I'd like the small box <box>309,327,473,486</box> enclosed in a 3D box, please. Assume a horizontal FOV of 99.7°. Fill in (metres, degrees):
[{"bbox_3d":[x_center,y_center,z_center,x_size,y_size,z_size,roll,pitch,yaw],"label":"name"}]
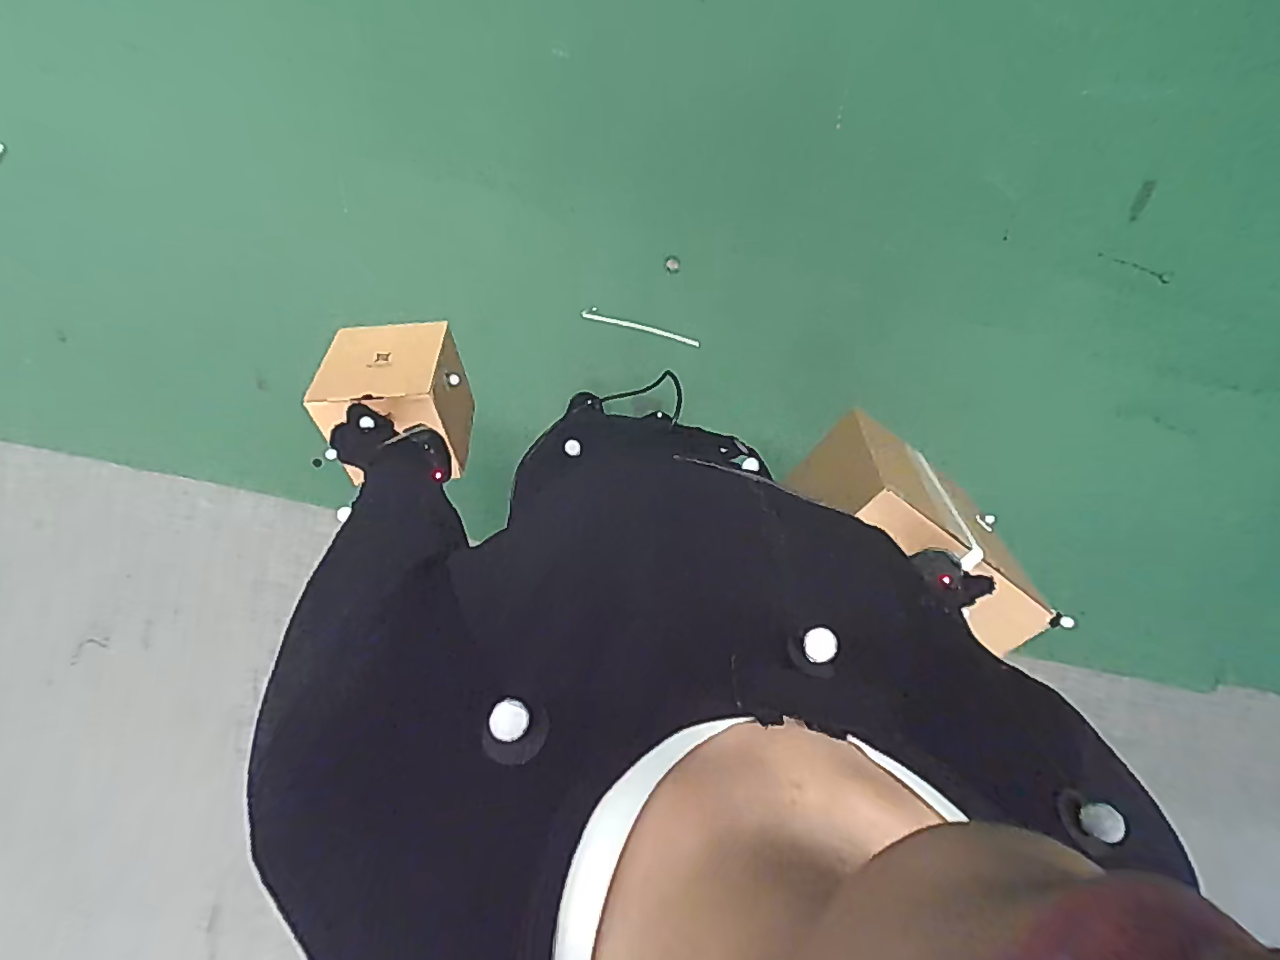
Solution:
[{"bbox_3d":[-0.365,-0.113,0.834,0.168,0.179,0.176,-5,138,-2],"label":"small box"}]
